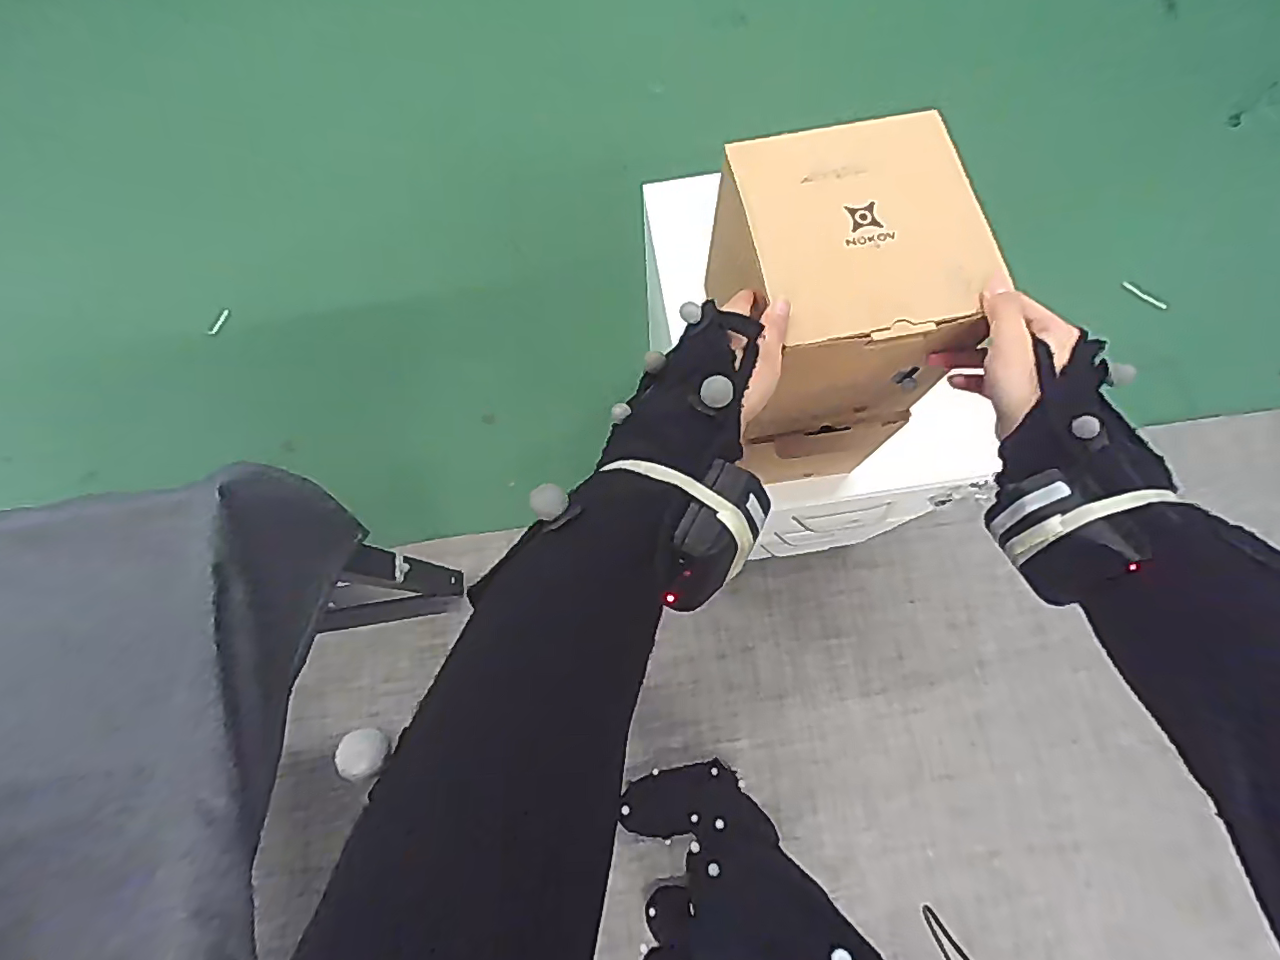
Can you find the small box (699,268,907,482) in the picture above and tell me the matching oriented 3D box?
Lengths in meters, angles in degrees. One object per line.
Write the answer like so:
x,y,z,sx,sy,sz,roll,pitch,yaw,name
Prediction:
0.164,-0.104,0.608,0.168,0.176,0.179,-8,73,-1,small box
